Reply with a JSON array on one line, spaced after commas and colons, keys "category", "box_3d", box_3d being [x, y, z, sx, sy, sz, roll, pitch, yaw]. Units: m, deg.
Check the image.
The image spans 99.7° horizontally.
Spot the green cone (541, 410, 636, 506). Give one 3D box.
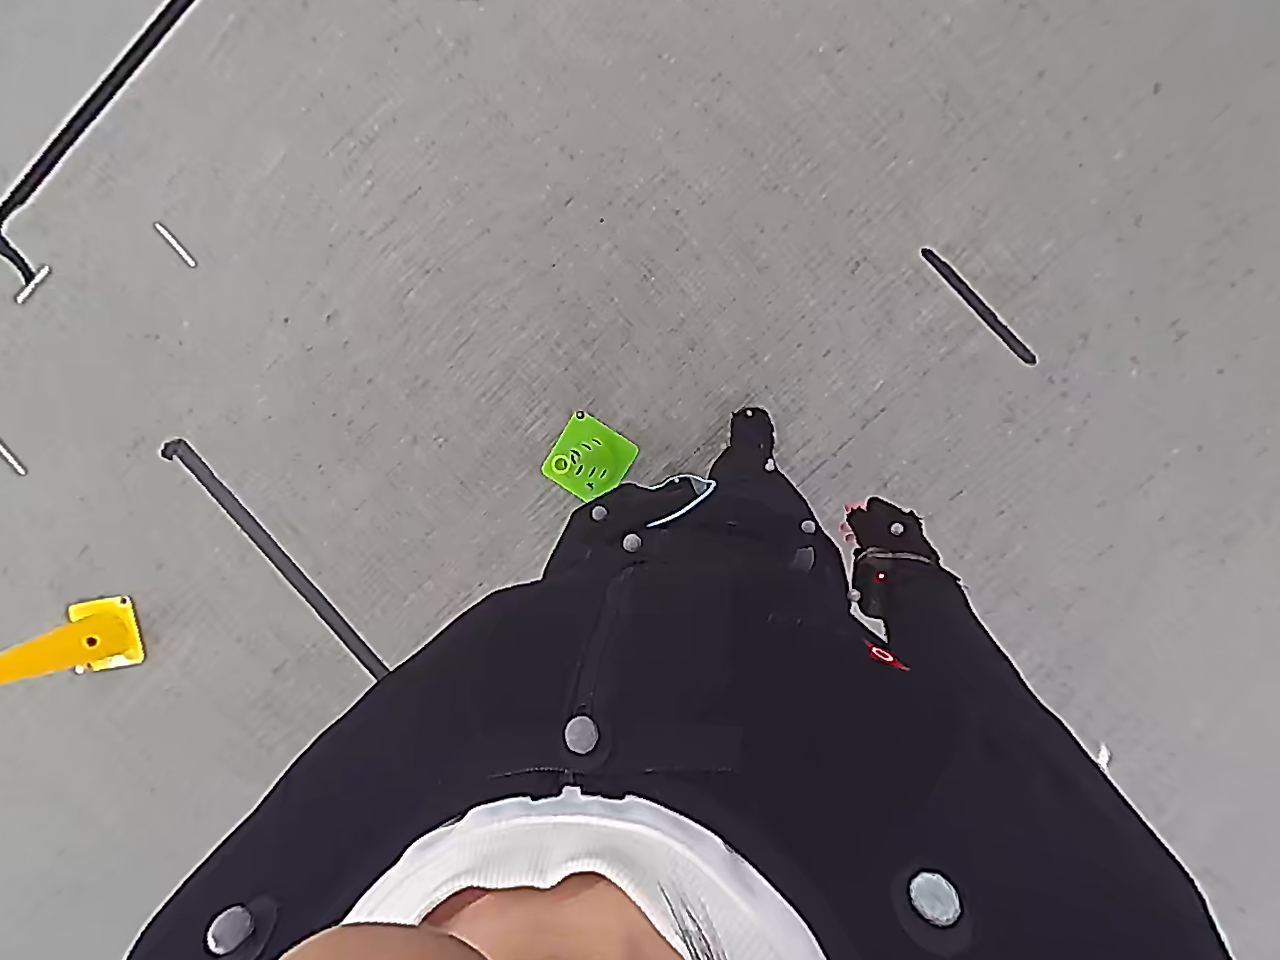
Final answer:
[{"category": "green cone", "box_3d": [-0.148, -0.042, 1.255, 0.202, 0.368, 0.200, 32, 96, 0]}]
